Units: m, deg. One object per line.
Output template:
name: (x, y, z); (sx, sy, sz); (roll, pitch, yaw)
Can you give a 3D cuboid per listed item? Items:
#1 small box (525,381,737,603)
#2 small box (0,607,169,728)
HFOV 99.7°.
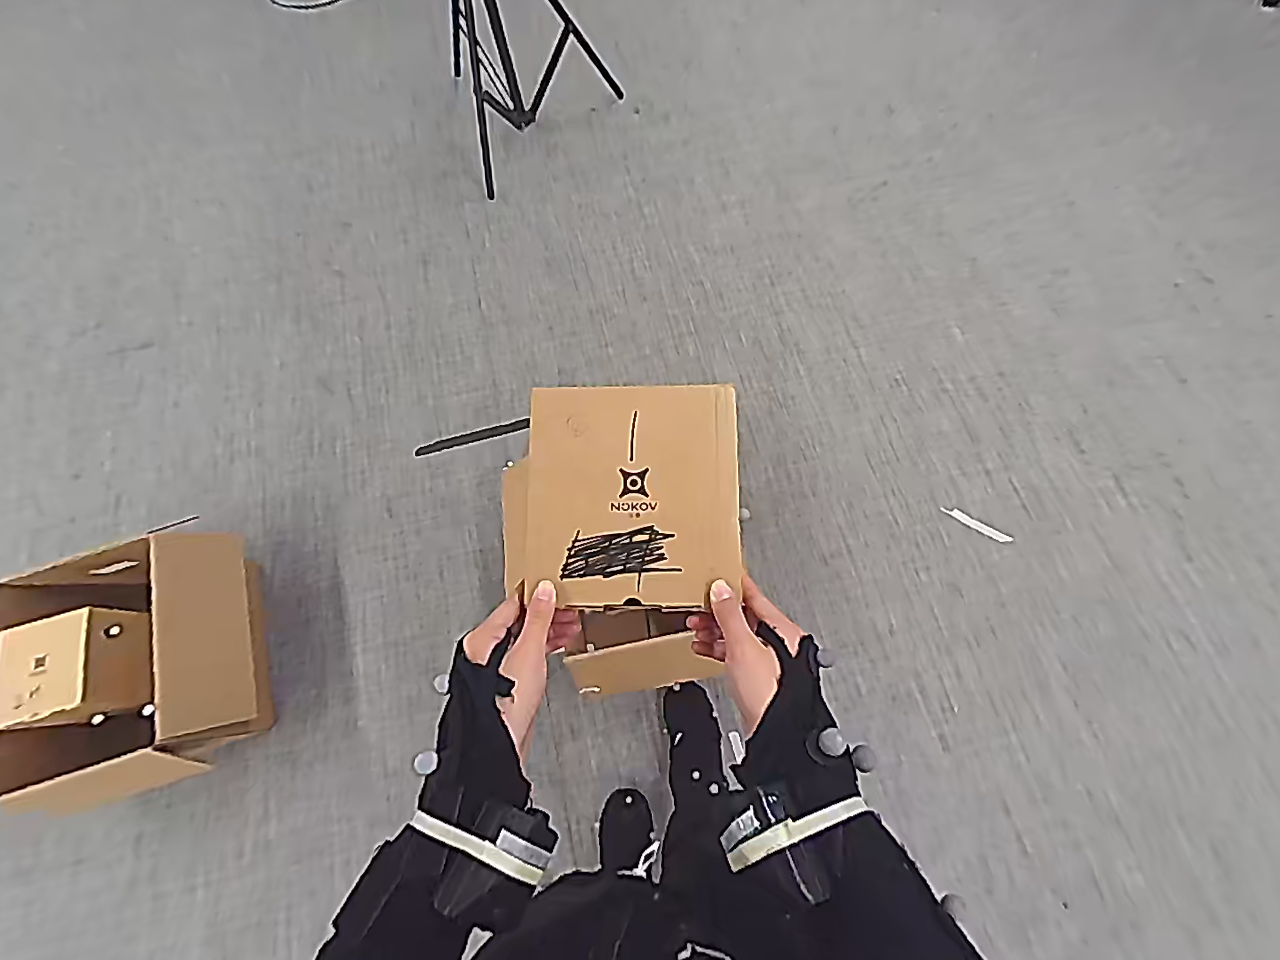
small box: (-0.002, 0.020, 0.501); (0.168, 0.176, 0.179); (-1, 79, 3)
small box: (-1.054, 0.359, 1.035); (0.168, 0.176, 0.179); (-16, 70, -1)
